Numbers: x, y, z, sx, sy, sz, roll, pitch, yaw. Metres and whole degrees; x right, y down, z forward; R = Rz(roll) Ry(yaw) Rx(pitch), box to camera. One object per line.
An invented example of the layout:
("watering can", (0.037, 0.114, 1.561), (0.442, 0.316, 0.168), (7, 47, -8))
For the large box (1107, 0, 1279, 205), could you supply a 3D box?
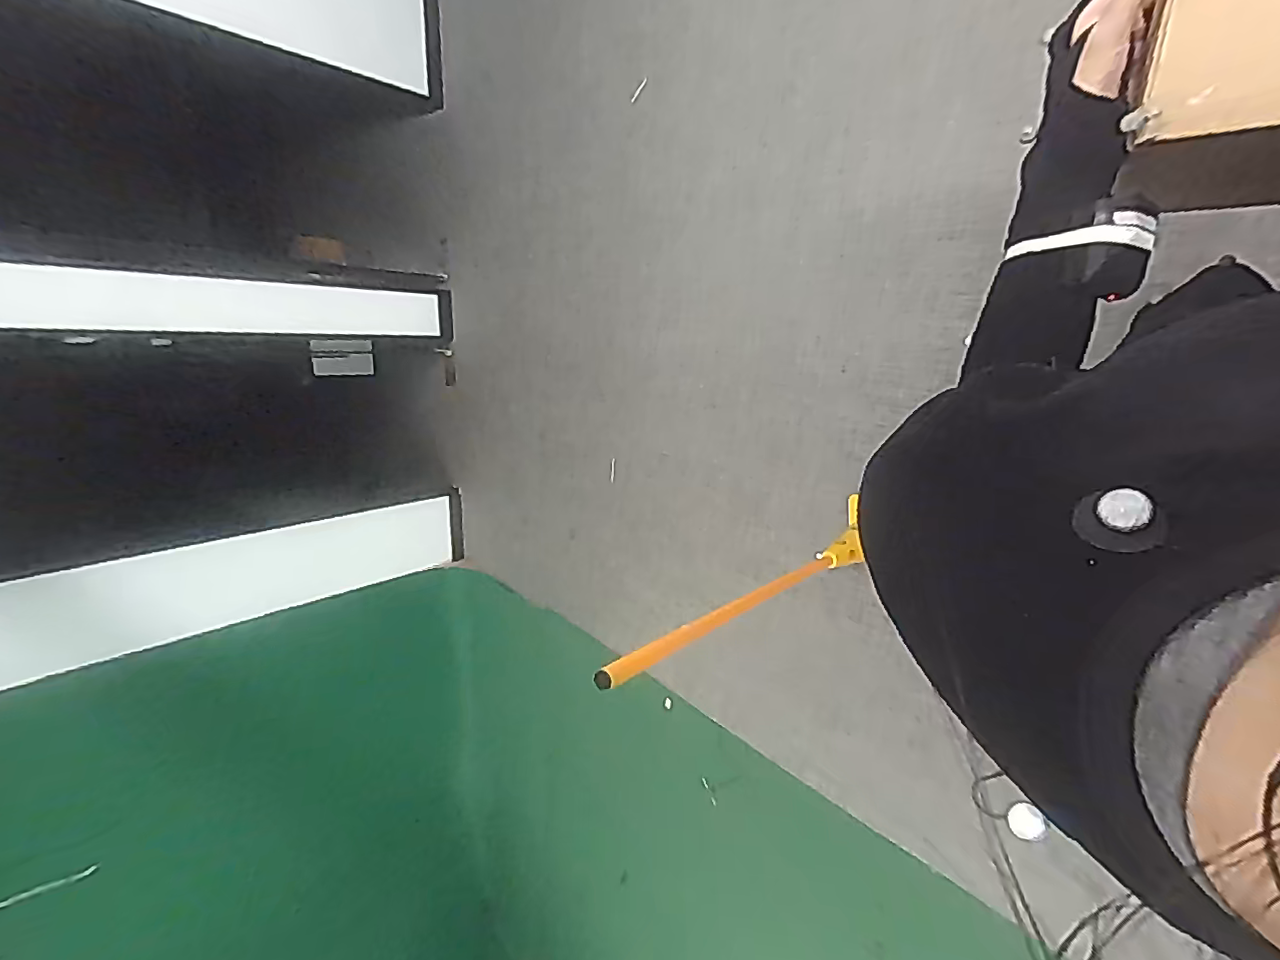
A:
("large box", (0.593, -0.385, 0.338), (0.408, 0.320, 0.320), (12, 109, 35))
